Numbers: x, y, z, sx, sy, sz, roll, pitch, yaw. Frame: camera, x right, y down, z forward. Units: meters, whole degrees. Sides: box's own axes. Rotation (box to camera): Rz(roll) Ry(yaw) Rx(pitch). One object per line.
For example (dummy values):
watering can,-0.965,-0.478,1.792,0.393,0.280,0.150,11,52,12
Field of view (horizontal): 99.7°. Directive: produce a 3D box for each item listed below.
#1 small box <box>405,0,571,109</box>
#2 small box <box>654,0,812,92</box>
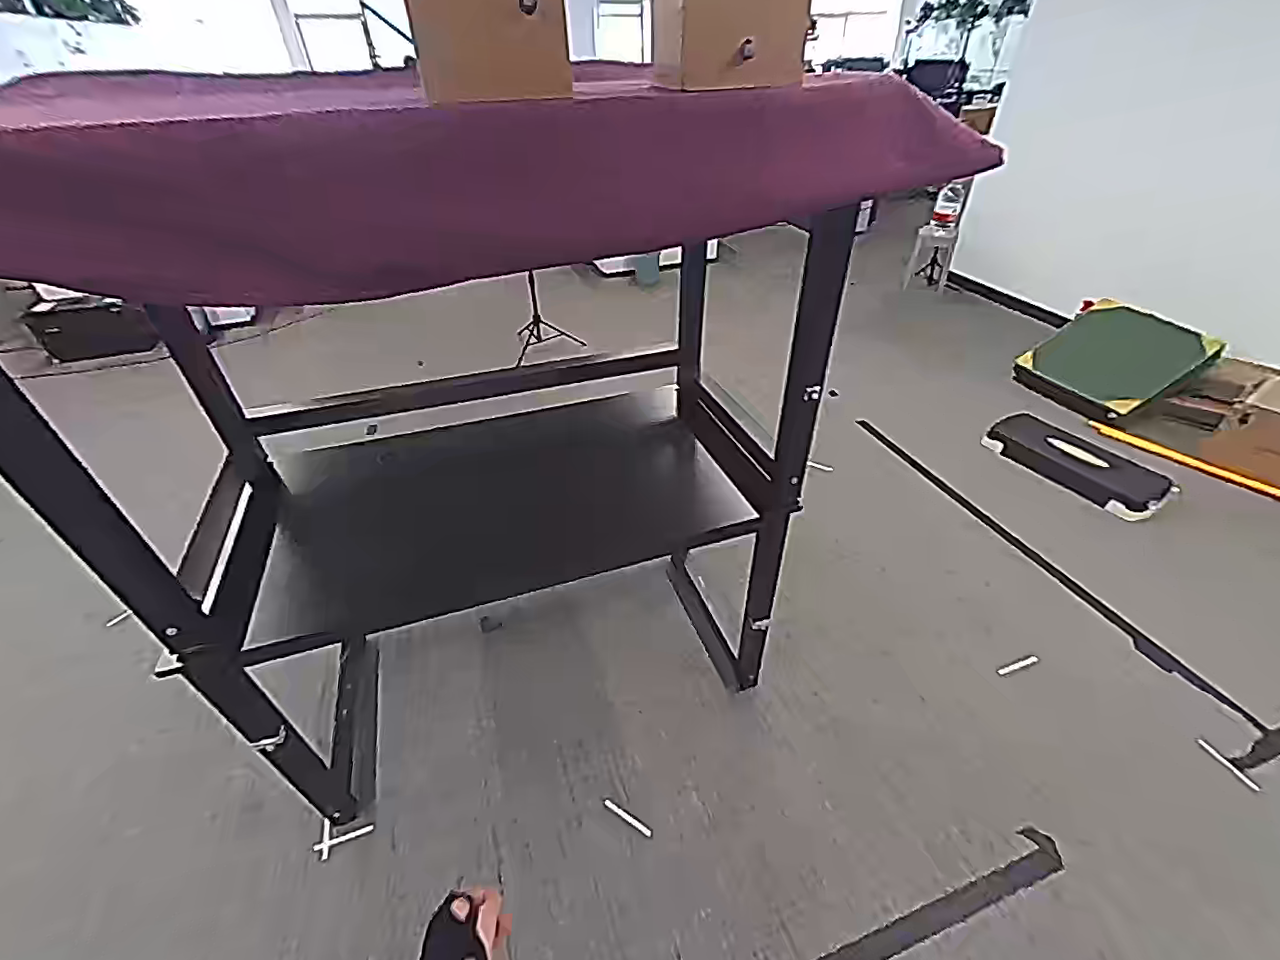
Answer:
small box,-0.183,-0.556,0.648,0.179,0.176,0.168,-12,38,-12
small box,0.120,-0.634,0.729,0.179,0.176,0.168,-10,38,-10
